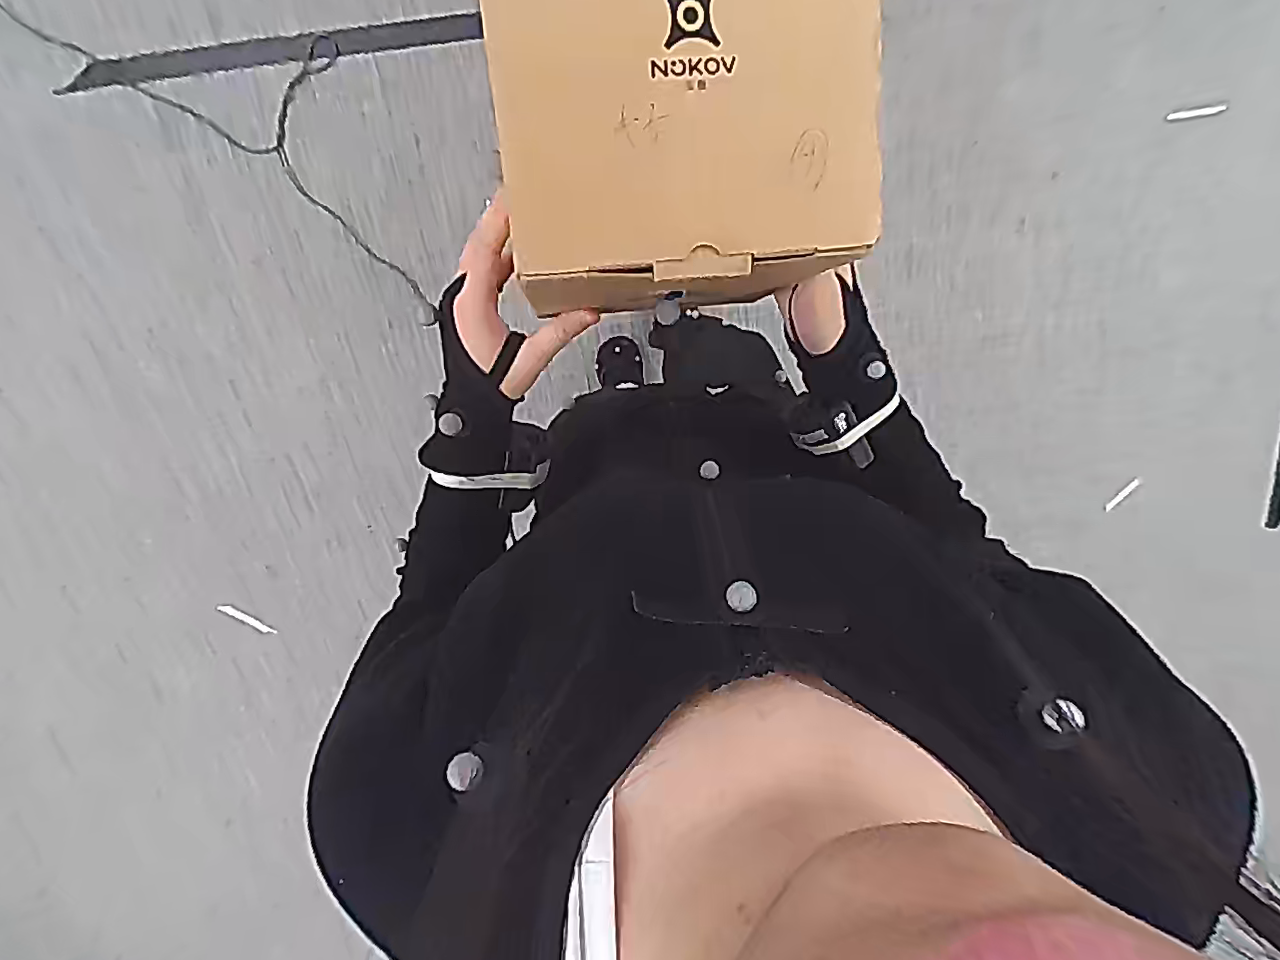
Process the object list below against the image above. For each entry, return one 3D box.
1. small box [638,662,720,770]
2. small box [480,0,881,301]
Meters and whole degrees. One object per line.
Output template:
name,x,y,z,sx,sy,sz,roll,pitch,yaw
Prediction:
small box,0.096,0.553,1.274,0.179,0.176,0.168,-11,105,0
small box,0.010,-0.198,0.298,0.168,0.176,0.179,-7,102,-7
